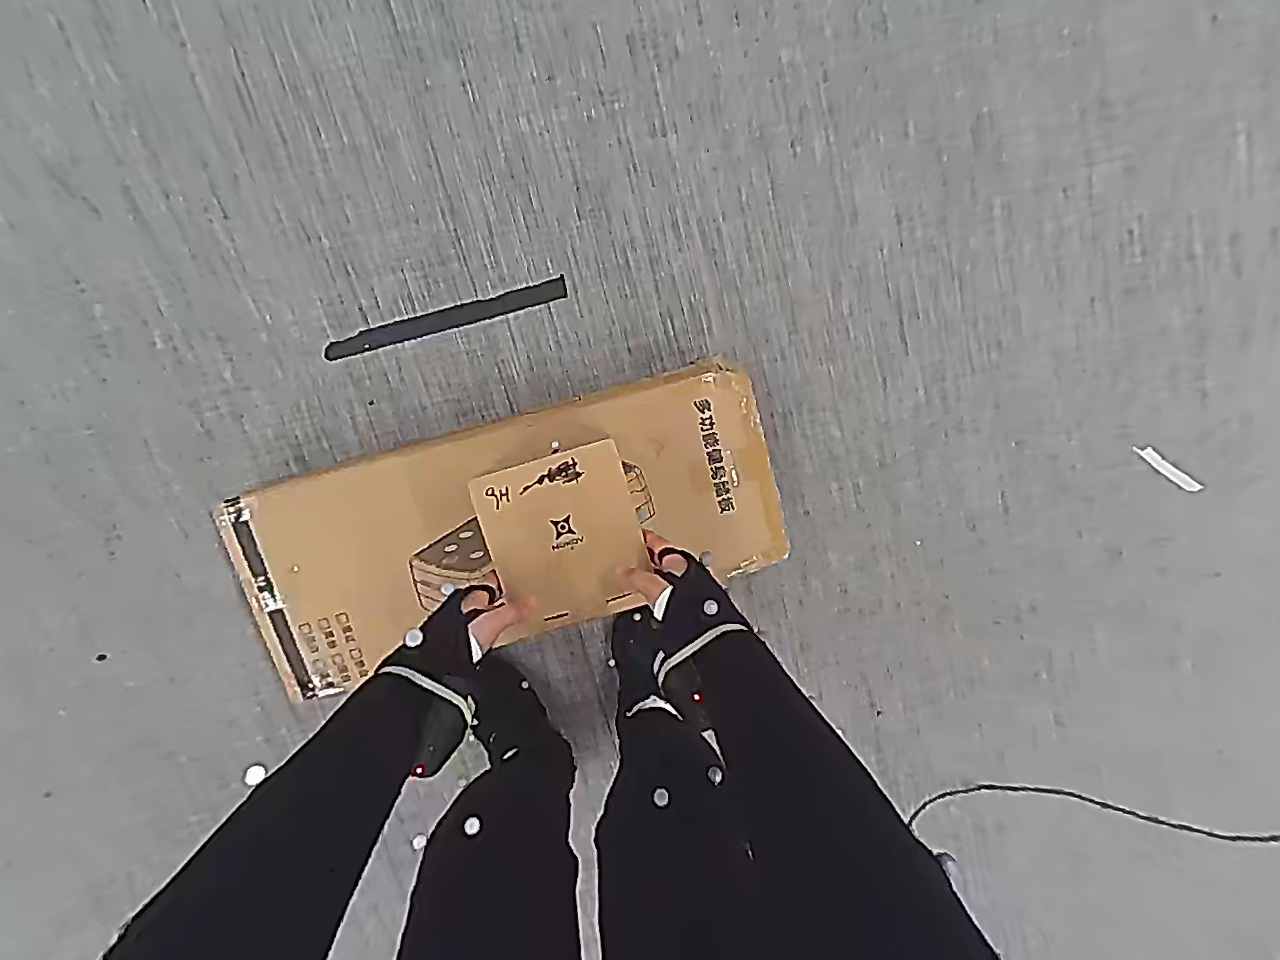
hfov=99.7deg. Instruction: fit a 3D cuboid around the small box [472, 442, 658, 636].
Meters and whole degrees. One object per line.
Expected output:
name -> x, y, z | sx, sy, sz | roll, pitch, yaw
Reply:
small box -> -0.086, 0.059, 0.665 | 0.168, 0.176, 0.179 | -17, 97, -4
